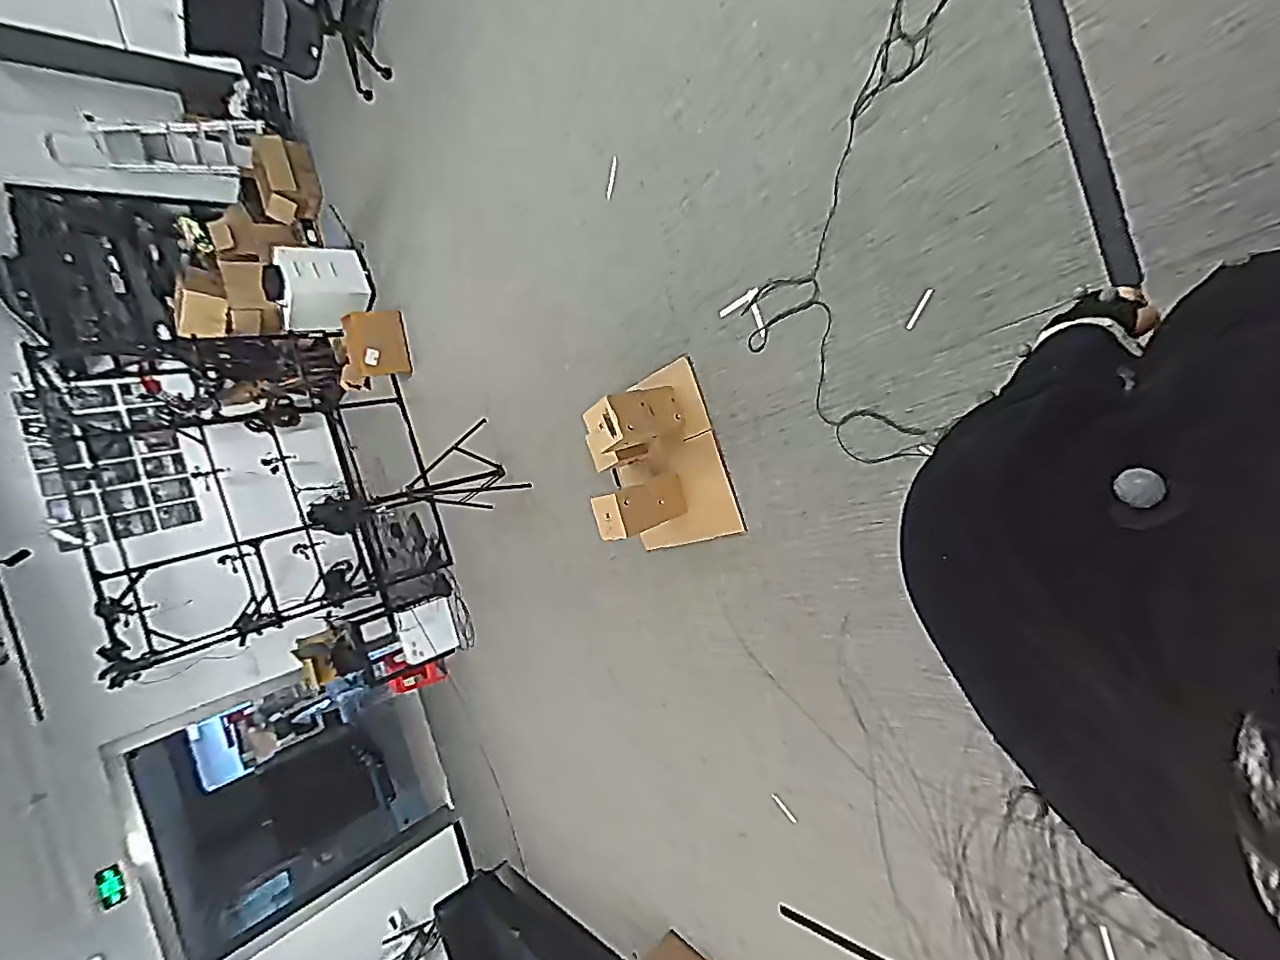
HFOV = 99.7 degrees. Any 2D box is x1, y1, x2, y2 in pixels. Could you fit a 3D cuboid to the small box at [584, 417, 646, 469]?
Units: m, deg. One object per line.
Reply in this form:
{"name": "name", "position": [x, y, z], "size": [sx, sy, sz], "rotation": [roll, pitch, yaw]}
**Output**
{"name": "small box", "position": [-0.104, -0.165, 2.298], "size": [0.168, 0.176, 0.179], "rotation": [-27, 84, 51]}

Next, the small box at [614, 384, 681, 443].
{"name": "small box", "position": [0.036, -0.260, 2.098], "size": [0.179, 0.176, 0.168], "rotation": [-26, 83, 51]}

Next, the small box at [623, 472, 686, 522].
{"name": "small box", "position": [0.059, 0.071, 2.192], "size": [0.168, 0.176, 0.179], "rotation": [-14, 93, 50]}

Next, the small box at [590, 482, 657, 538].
{"name": "small box", "position": [-0.062, 0.112, 2.088], "size": [0.168, 0.176, 0.179], "rotation": [-12, 95, 51]}
